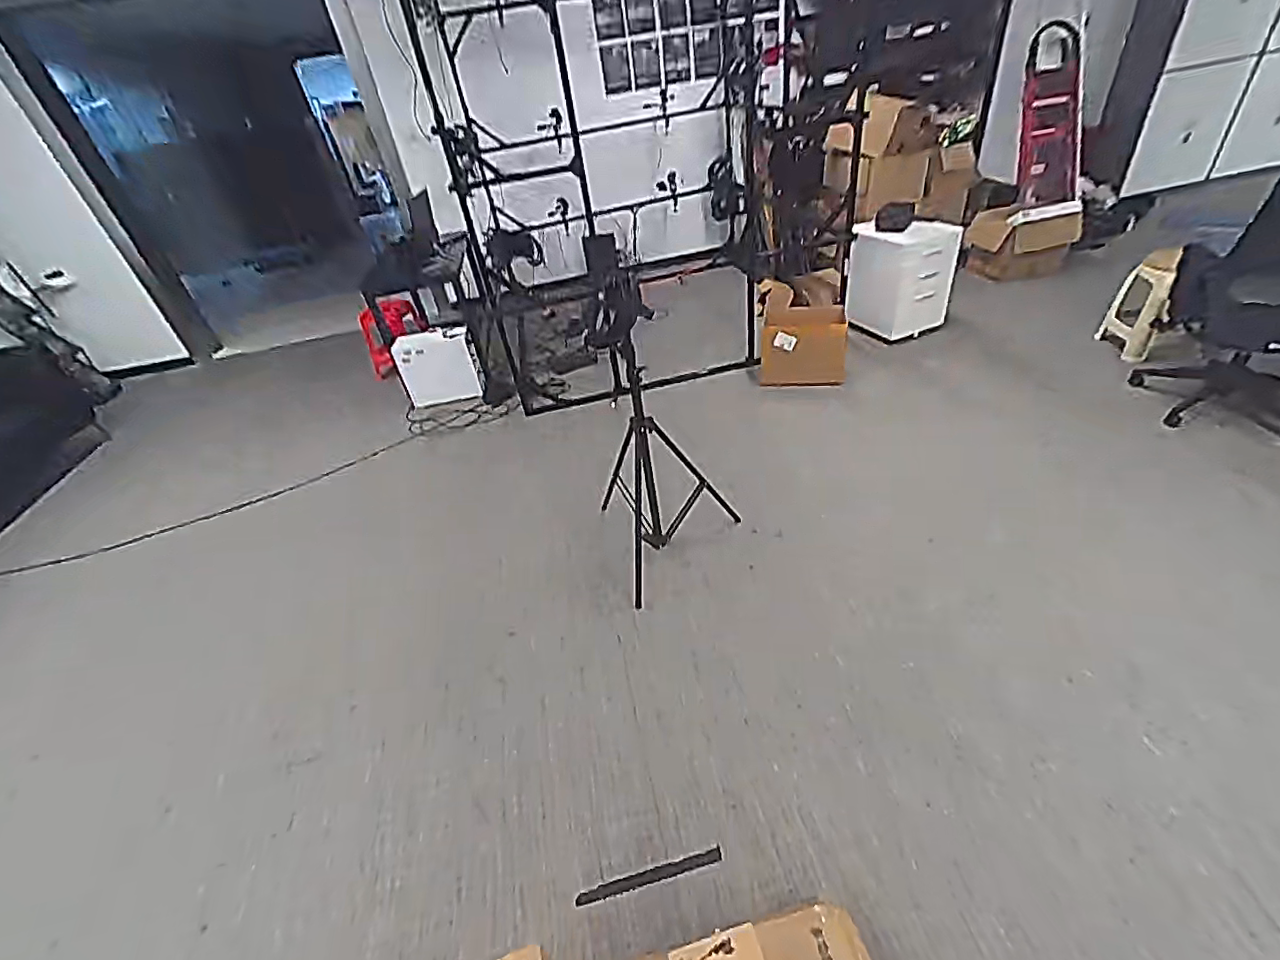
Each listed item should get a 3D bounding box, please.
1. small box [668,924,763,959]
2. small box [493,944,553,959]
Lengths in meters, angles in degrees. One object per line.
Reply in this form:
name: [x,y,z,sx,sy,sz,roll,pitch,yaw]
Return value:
small box: [0.160,0.948,0.969,0.168,0.176,0.179,-16,37,-5]
small box: [-0.206,0.888,0.852,0.168,0.176,0.179,-14,36,-7]
